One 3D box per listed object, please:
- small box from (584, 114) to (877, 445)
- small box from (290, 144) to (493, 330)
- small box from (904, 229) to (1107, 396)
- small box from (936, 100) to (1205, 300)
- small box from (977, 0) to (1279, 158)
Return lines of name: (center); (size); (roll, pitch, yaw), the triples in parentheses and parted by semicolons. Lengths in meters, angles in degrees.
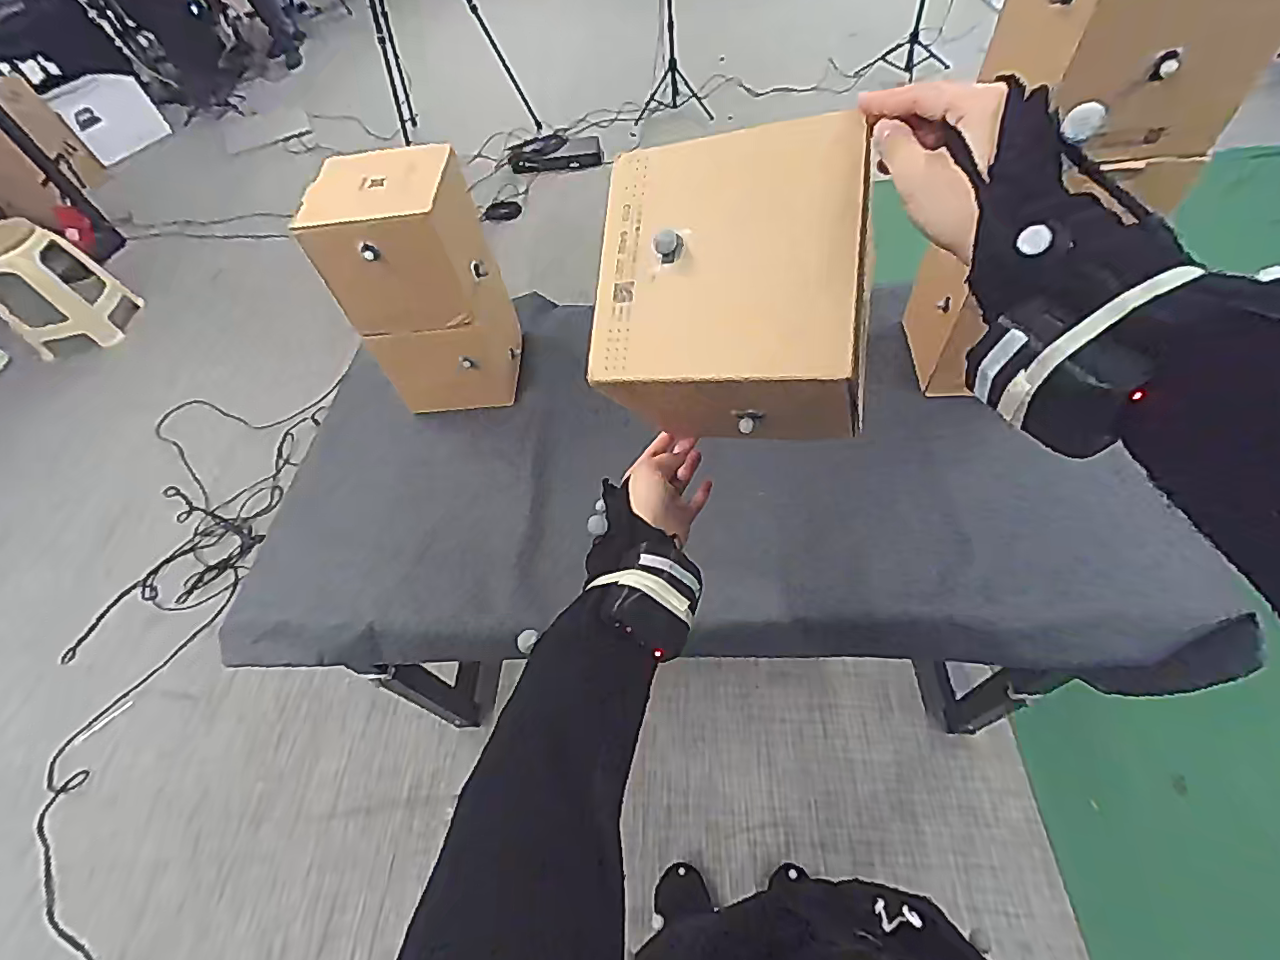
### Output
small box: (0.080, -0.129, 0.413); (0.176, 0.179, 0.168); (5, 83, 25)
small box: (-0.320, -0.323, 0.736); (0.179, 0.176, 0.168); (-4, 57, 3)
small box: (0.497, -0.242, 0.773); (0.168, 0.176, 0.179); (0, 56, 8)
small box: (0.476, -0.329, 0.636); (0.168, 0.176, 0.179); (1, 57, 8)
small box: (0.450, -0.422, 0.501); (0.168, 0.176, 0.179); (-1, 56, 7)
